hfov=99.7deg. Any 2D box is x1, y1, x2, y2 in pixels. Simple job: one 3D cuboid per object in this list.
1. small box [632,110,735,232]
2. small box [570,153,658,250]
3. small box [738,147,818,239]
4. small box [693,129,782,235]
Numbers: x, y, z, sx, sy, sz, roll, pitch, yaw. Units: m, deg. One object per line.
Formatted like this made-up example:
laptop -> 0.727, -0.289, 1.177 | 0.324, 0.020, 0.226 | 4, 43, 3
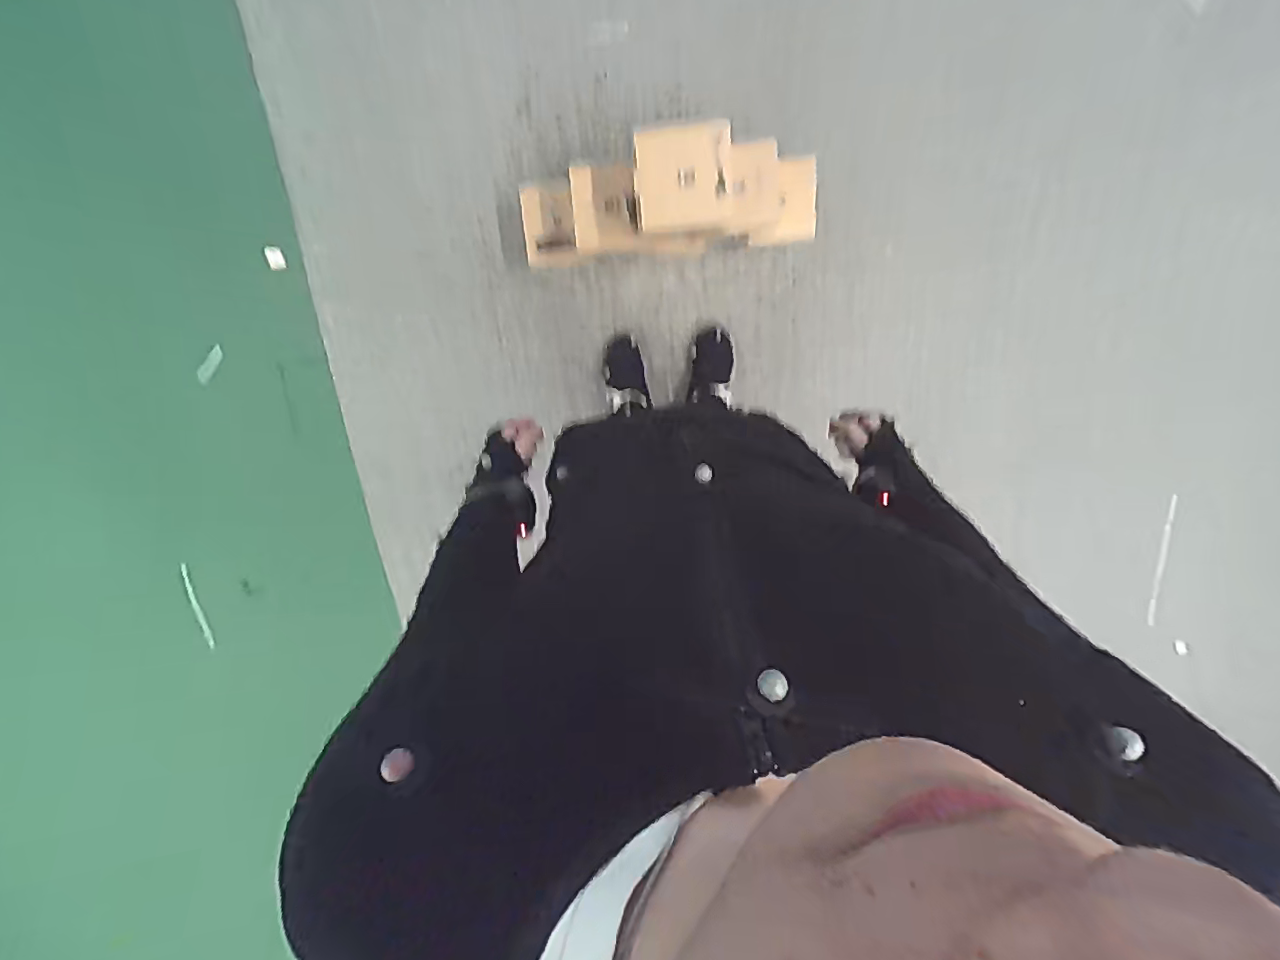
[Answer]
small box -> 0.080, -0.582, 1.039 | 0.179, 0.176, 0.168 | -5, 109, 1
small box -> -0.054, -0.611, 1.200 | 0.179, 0.176, 0.168 | -4, 108, 1
small box -> 0.336, -0.704, 1.347 | 0.168, 0.176, 0.179 | -5, 108, 2
small box -> 0.203, -0.647, 1.192 | 0.179, 0.176, 0.168 | -8, 109, 0
